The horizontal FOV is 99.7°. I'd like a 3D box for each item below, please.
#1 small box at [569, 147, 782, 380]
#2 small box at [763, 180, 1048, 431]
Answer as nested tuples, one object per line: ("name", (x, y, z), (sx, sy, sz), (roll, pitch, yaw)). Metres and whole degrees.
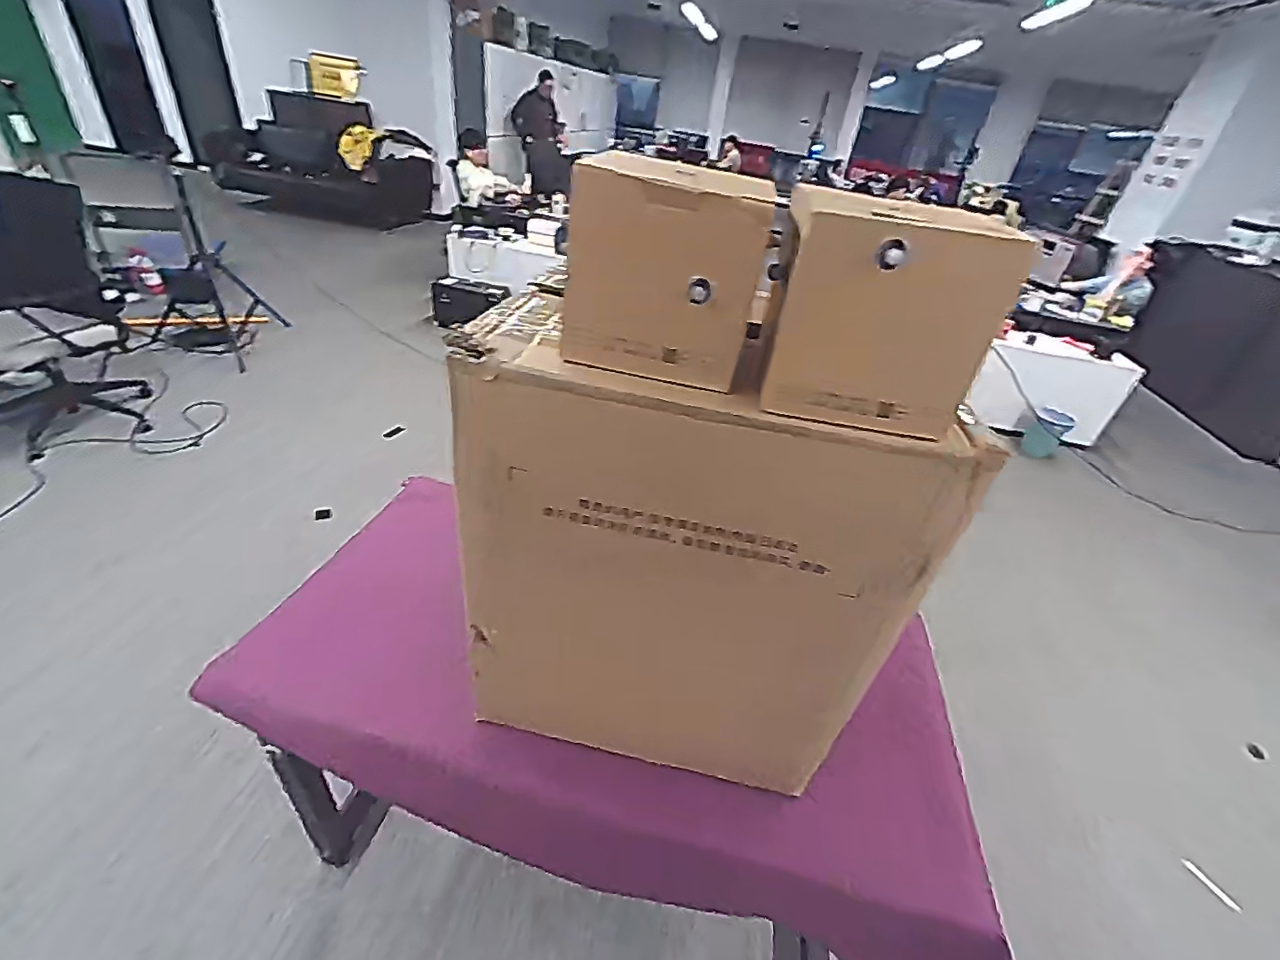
("small box", (0.031, -0.215, 0.534), (0.168, 0.176, 0.179), (13, 33, 1))
("small box", (0.215, -0.167, 0.502), (0.168, 0.176, 0.179), (10, 34, 4))
